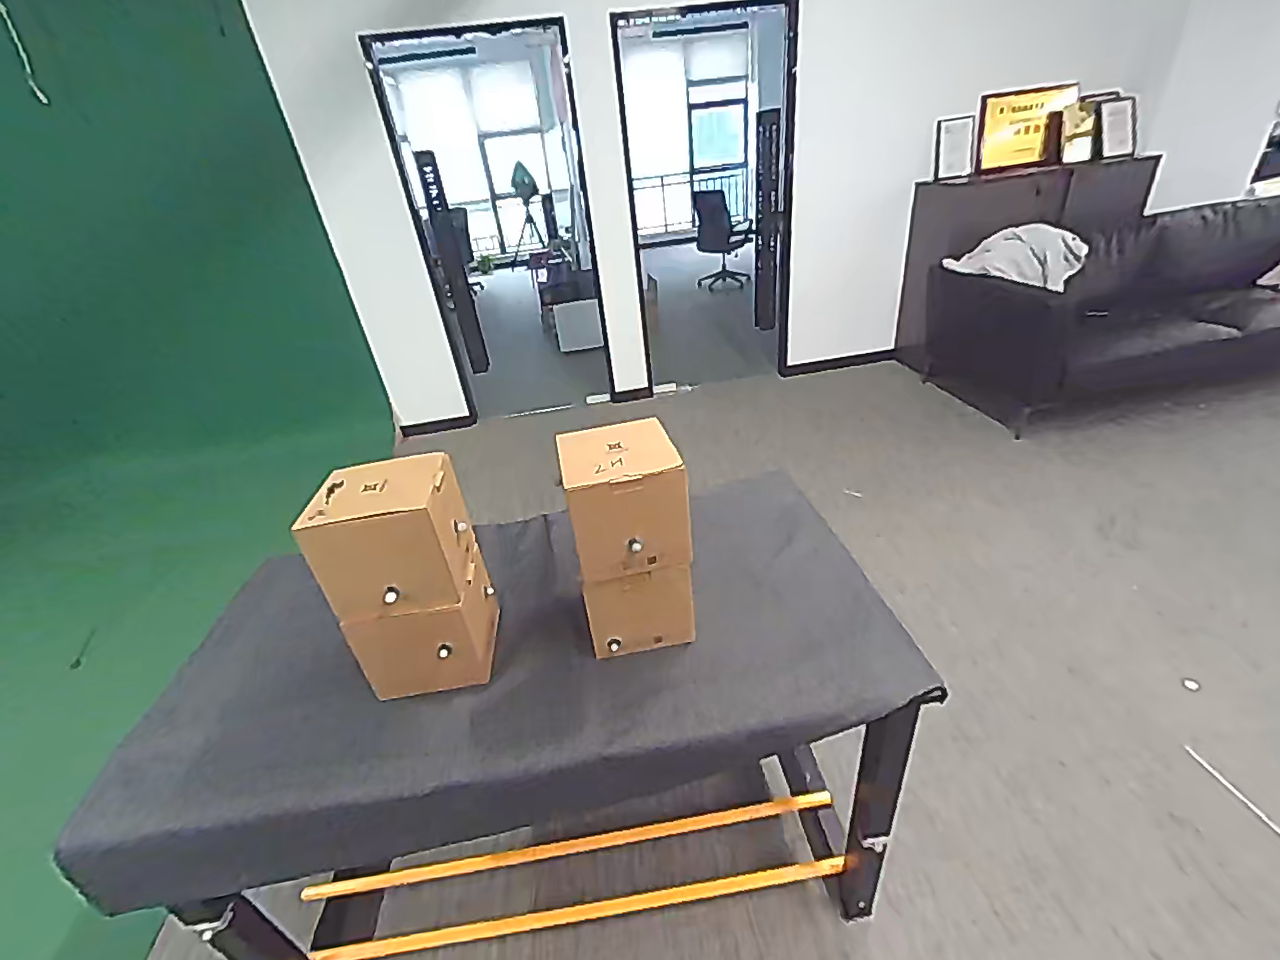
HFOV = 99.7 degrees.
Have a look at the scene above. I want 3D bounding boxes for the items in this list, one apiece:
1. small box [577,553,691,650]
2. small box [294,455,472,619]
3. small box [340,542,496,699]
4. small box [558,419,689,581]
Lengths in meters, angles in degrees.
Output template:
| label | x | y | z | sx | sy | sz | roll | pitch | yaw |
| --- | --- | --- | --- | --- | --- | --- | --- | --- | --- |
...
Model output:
| label | x | y | z | sx | sy | sz | roll | pitch | yaw |
| --- | --- | --- | --- | --- | --- | --- | --- | --- | --- |
| small box | -0.012 | 0.167 | 0.915 | 0.168 | 0.176 | 0.179 | -9 | 29 | -4 |
| small box | -0.362 | 0.082 | 0.806 | 0.179 | 0.176 | 0.168 | -9 | 29 | -4 |
| small box | -0.343 | 0.227 | 0.881 | 0.179 | 0.176 | 0.168 | -9 | 29 | -3 |
| small box | -0.027 | 0.027 | 0.830 | 0.168 | 0.176 | 0.179 | -12 | 30 | -7 |
